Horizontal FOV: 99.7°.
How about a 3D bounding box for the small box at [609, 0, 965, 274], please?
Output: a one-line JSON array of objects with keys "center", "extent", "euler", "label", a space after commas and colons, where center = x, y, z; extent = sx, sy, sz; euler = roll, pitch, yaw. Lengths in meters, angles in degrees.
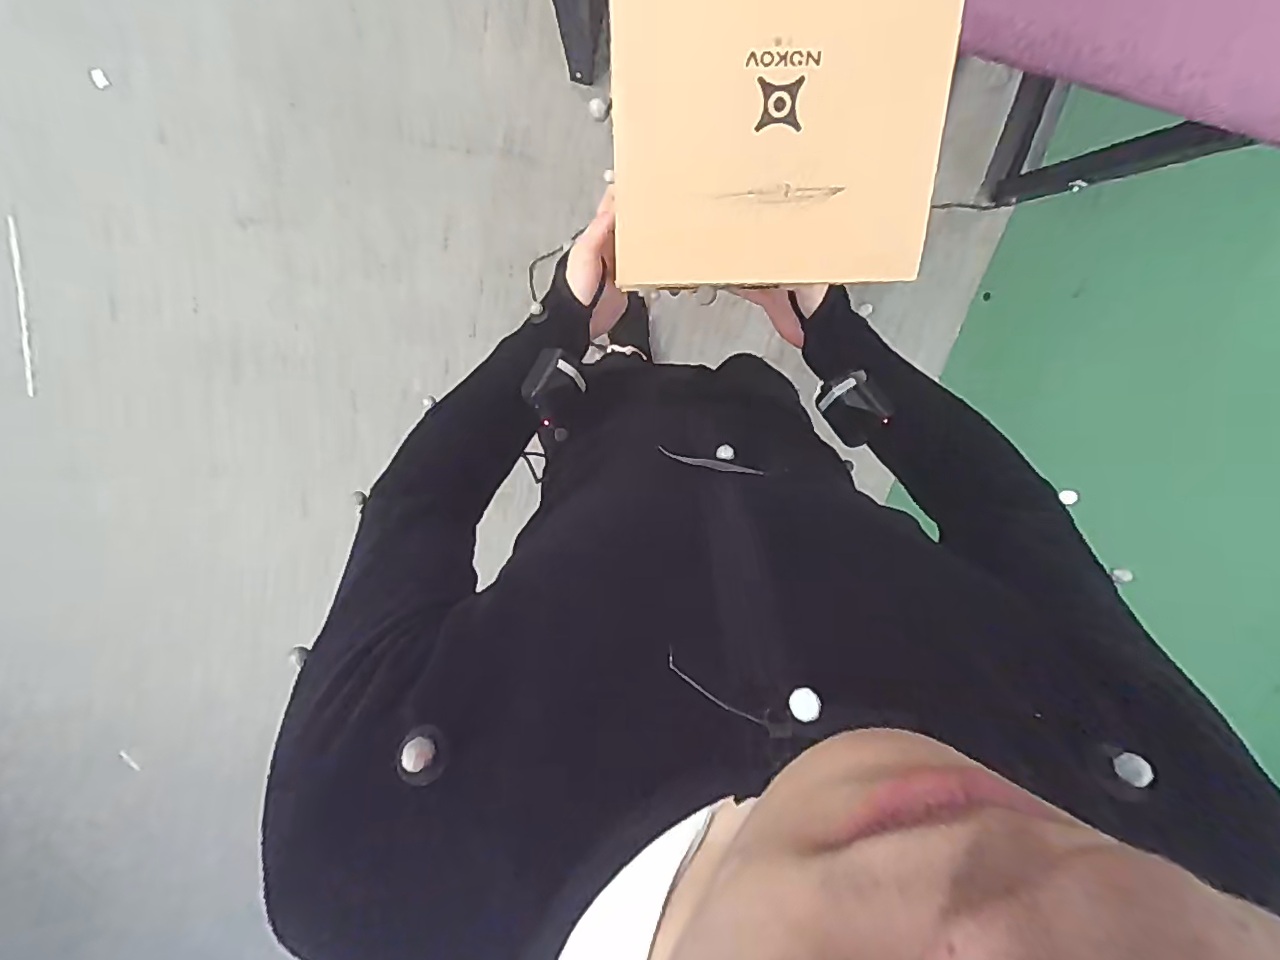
[{"center": [0.066, -0.221, 0.332], "extent": [0.168, 0.176, 0.179], "euler": [0, 112, 1], "label": "small box"}]
